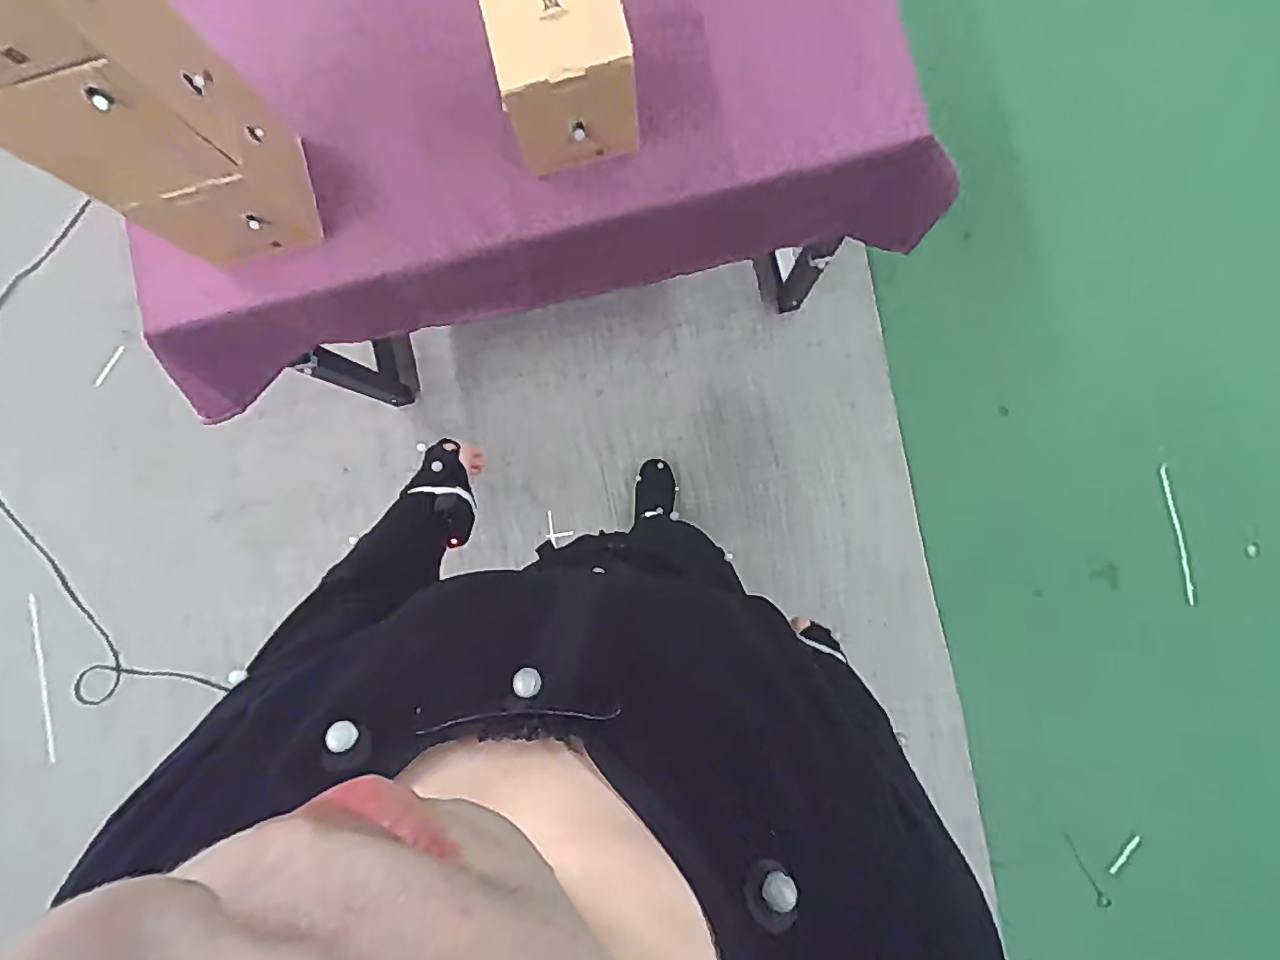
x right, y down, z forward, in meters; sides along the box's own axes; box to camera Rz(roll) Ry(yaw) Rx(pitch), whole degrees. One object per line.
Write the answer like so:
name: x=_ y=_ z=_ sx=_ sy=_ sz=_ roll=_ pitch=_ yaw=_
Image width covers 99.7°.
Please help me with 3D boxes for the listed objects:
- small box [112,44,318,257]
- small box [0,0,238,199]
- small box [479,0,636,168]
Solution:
small box: x=-0.575 y=-0.427 z=0.736 sx=0.168 sy=0.176 sz=0.179 roll=-14 pitch=86 yaw=0
small box: x=-0.585 y=-0.435 z=0.574 sx=0.179 sy=0.176 sz=0.168 roll=-16 pitch=87 yaw=-1
small box: x=-0.102 y=-0.553 z=0.726 sx=0.168 sy=0.176 sz=0.179 roll=-13 pitch=87 yaw=1
